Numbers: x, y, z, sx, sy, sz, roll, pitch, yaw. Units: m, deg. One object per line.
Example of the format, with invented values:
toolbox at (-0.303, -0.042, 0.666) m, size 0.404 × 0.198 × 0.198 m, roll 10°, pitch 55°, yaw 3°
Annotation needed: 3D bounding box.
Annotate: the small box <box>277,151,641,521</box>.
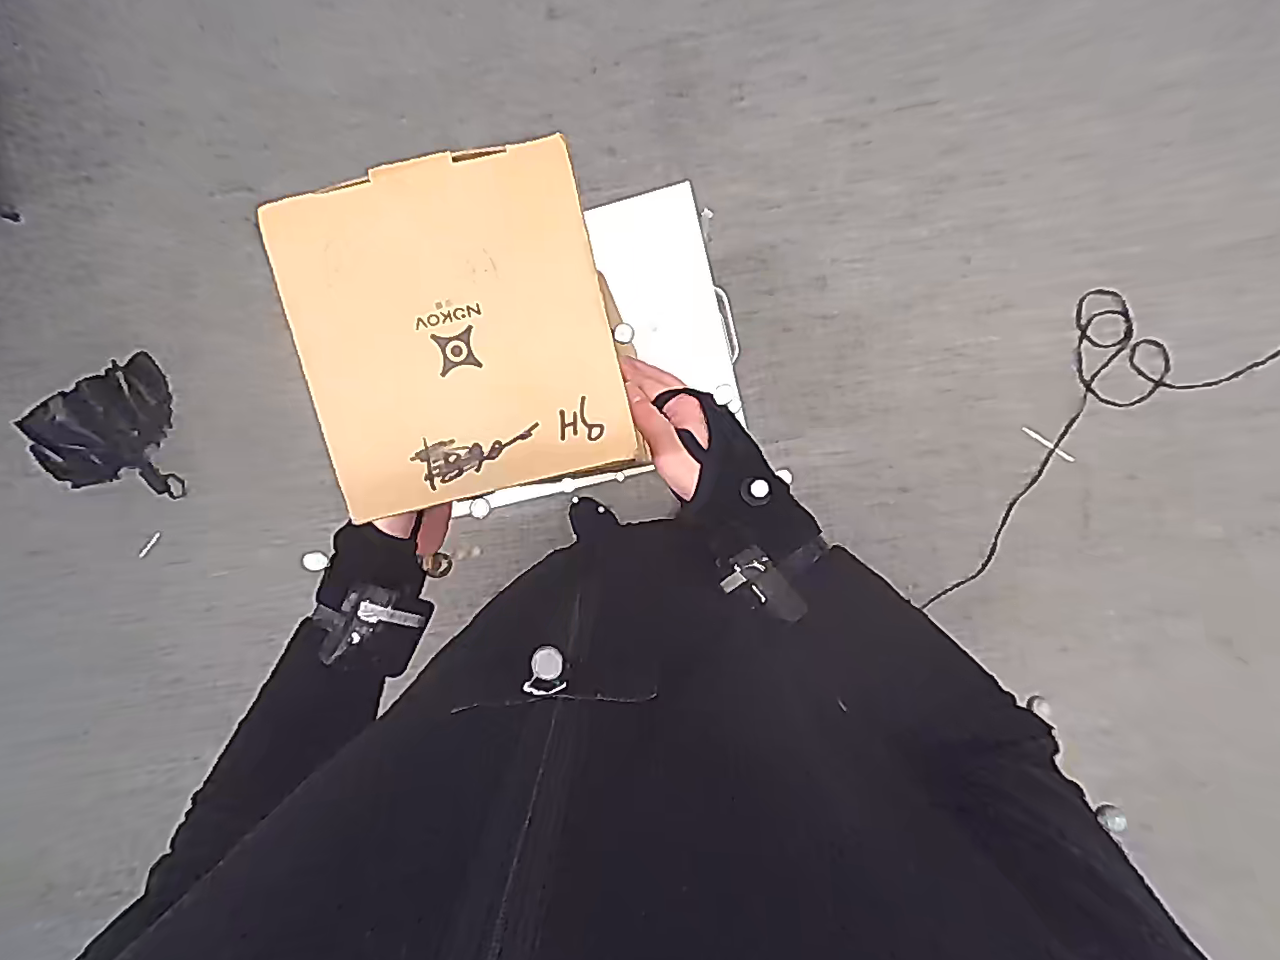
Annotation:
small box at (-0.100, -0.084, 0.376) m, size 0.168 × 0.176 × 0.179 m, roll -13°, pitch 96°, yaw 0°
